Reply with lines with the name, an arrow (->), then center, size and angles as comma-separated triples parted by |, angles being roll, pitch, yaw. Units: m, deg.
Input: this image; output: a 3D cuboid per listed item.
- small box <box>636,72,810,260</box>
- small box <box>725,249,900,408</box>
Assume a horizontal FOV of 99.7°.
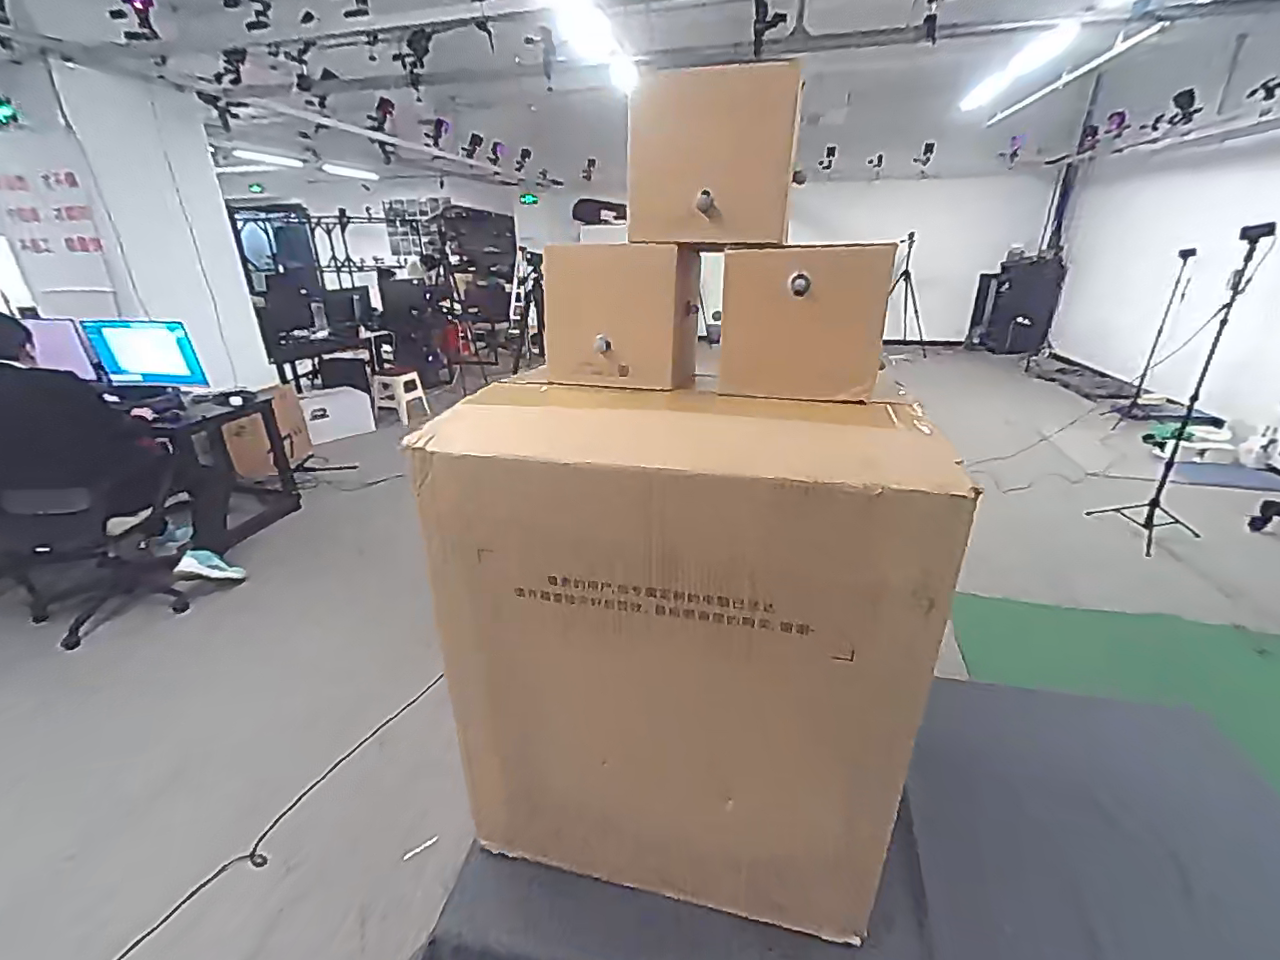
small box -> 0.101, -0.356, 0.647 | 0.179, 0.176, 0.168 | 7, 19, 14
small box -> 0.203, -0.188, 0.672 | 0.179, 0.176, 0.168 | 6, 21, 13
